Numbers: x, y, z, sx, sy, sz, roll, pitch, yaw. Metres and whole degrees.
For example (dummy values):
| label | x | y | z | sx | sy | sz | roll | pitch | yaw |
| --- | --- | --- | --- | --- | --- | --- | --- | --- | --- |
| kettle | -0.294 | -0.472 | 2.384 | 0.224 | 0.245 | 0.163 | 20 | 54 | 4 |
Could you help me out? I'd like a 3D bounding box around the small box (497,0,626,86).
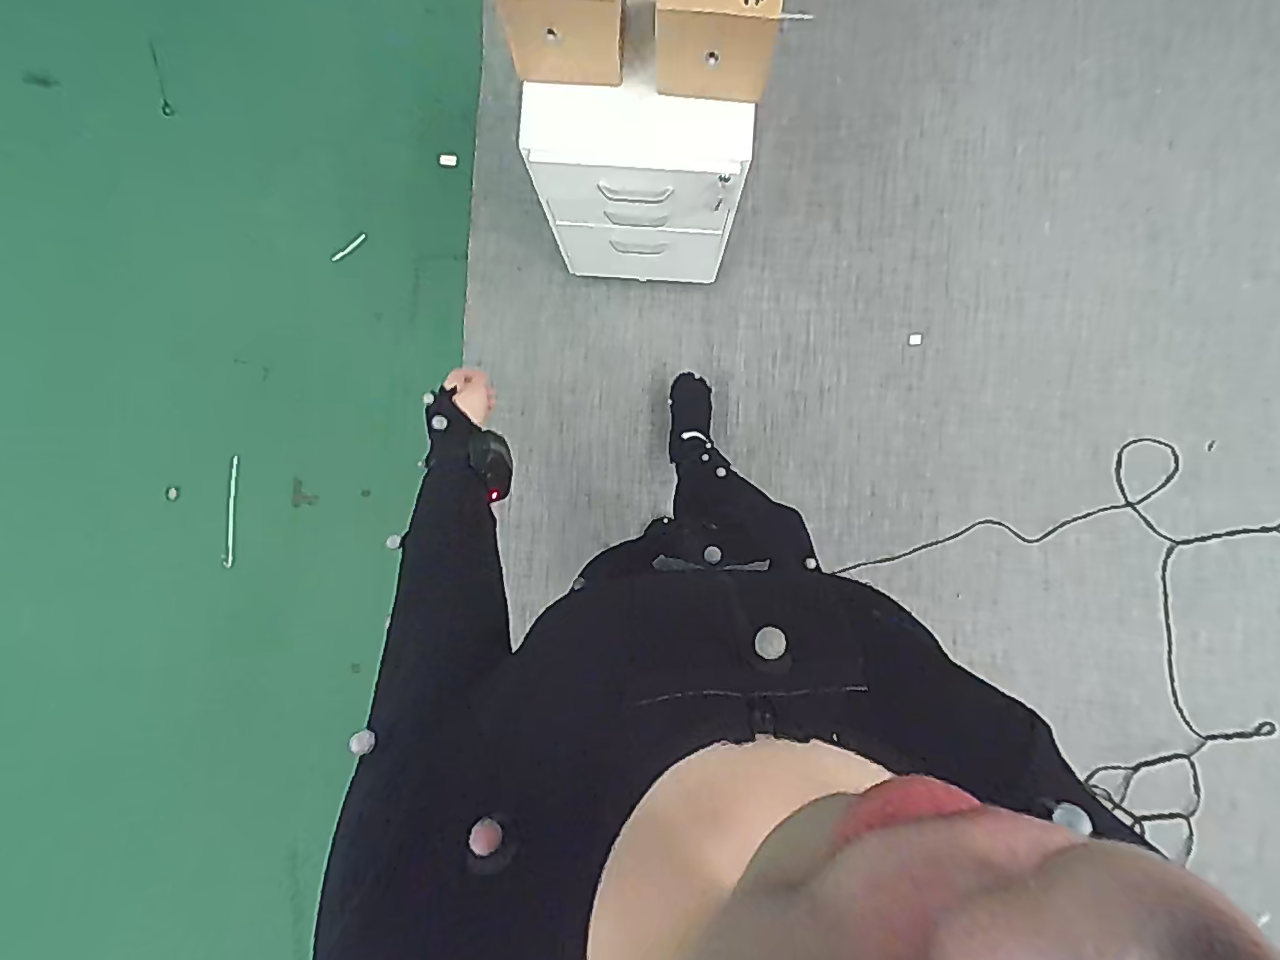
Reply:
| label | x | y | z | sx | sy | sz | roll | pitch | yaw |
| --- | --- | --- | --- | --- | --- | --- | --- | --- | --- |
| small box | -0.117 | -0.751 | 0.836 | 0.179 | 0.176 | 0.168 | 4 | 89 | 1 |
